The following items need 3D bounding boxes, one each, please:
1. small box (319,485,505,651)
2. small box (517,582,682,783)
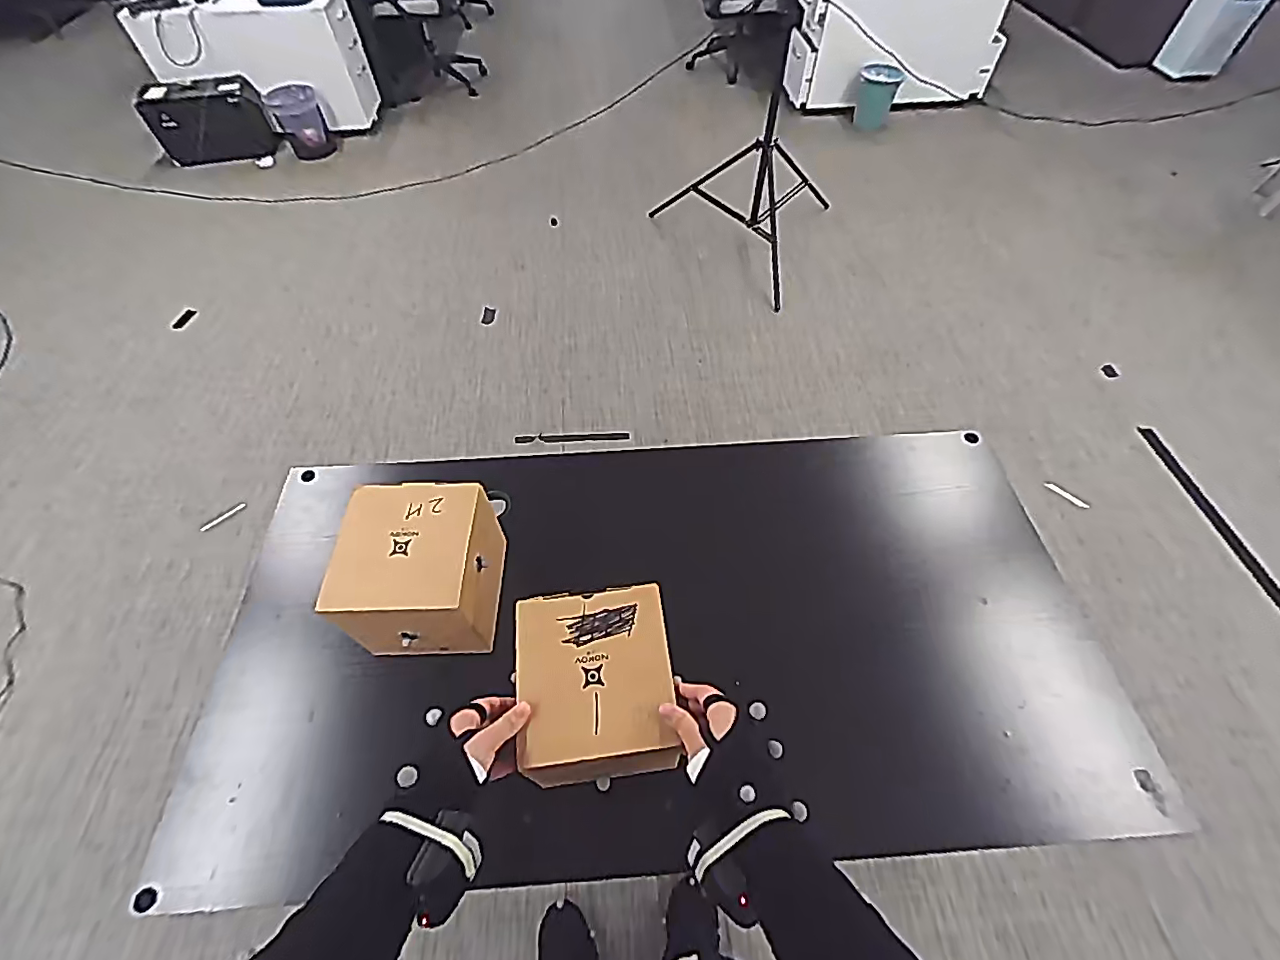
[{"bbox_3d":[-0.288,0.126,0.732,0.168,0.176,0.179,-2,55,0],"label":"small box"},{"bbox_3d":[-0.048,0.244,0.643,0.168,0.176,0.179,-7,56,-3],"label":"small box"}]
